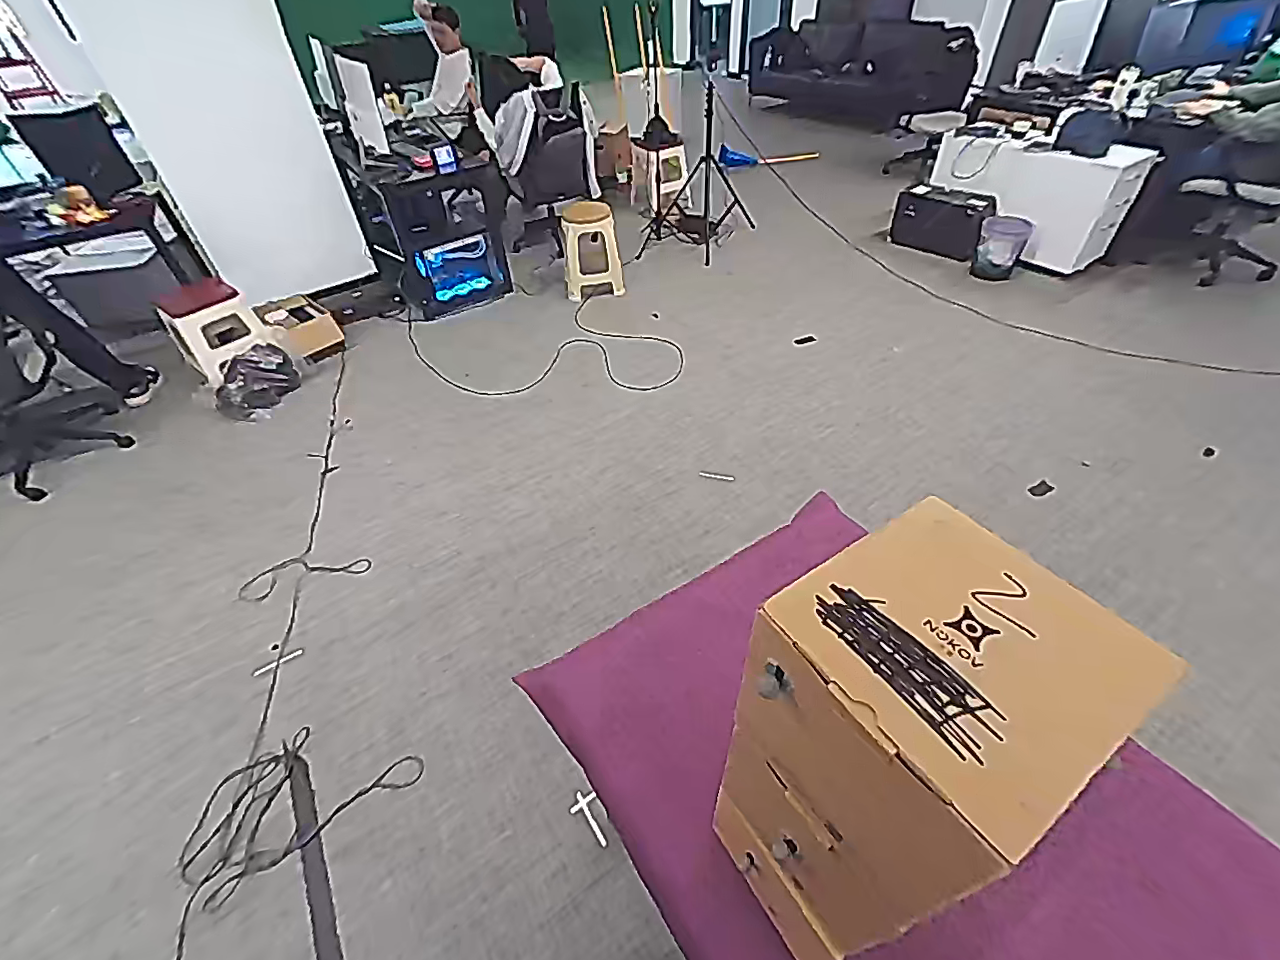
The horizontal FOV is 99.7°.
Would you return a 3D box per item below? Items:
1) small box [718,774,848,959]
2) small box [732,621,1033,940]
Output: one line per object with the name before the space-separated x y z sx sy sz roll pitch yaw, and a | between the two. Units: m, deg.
small box | 0.202 0.394 0.607 0.179 0.176 0.168 -25 48 -22
small box | 0.200 0.273 0.497 0.179 0.176 0.168 -27 49 -23
